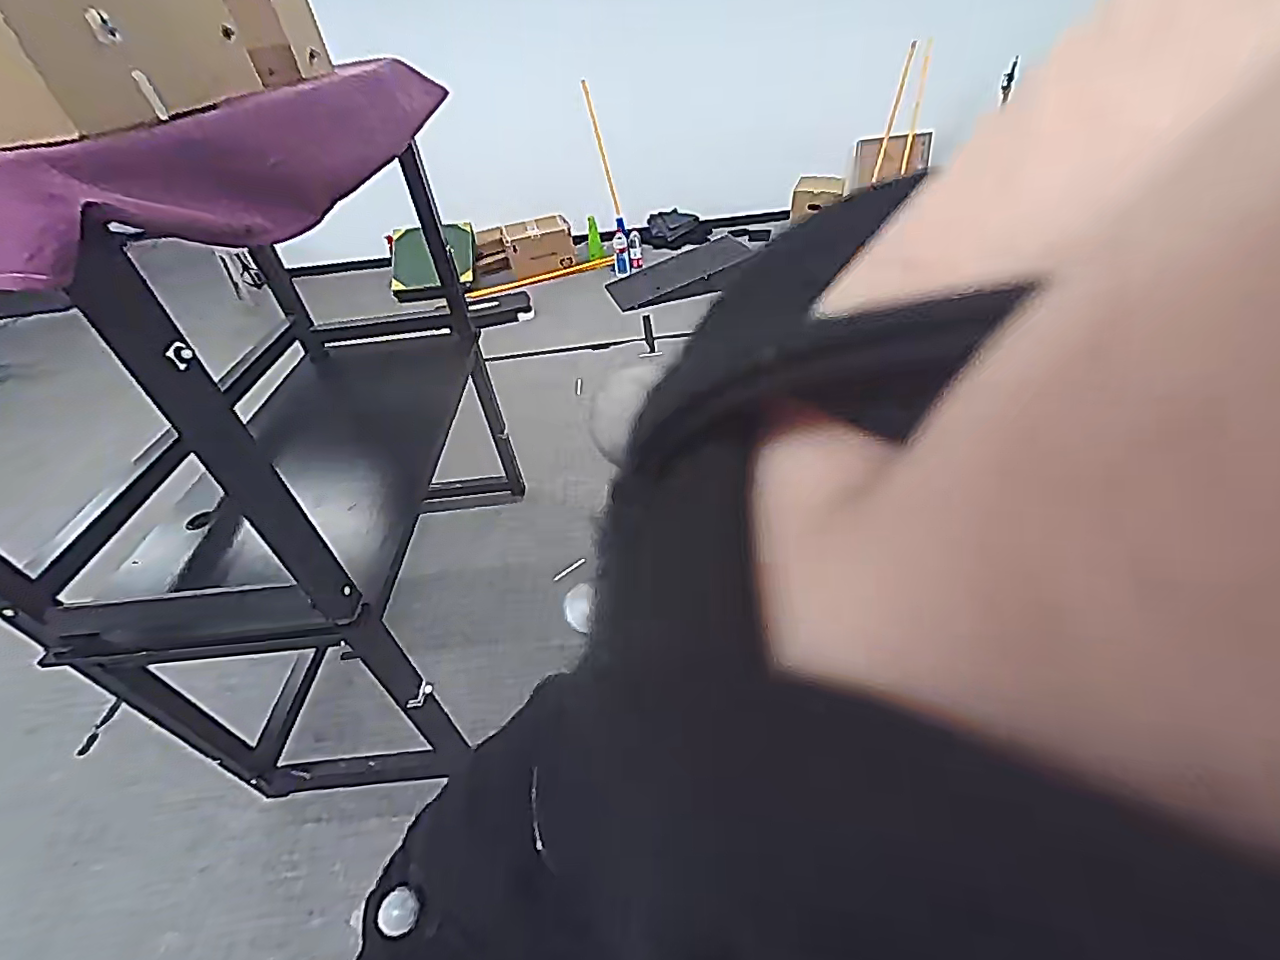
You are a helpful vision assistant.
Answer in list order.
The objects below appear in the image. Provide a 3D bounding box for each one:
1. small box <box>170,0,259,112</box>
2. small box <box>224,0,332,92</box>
[{"bbox_3d":[-0.795,-0.727,0.916,0.168,0.176,0.179,-7,41,2],"label":"small box"},{"bbox_3d":[-0.813,-0.961,1.183,0.168,0.176,0.179,-6,41,3],"label":"small box"}]
